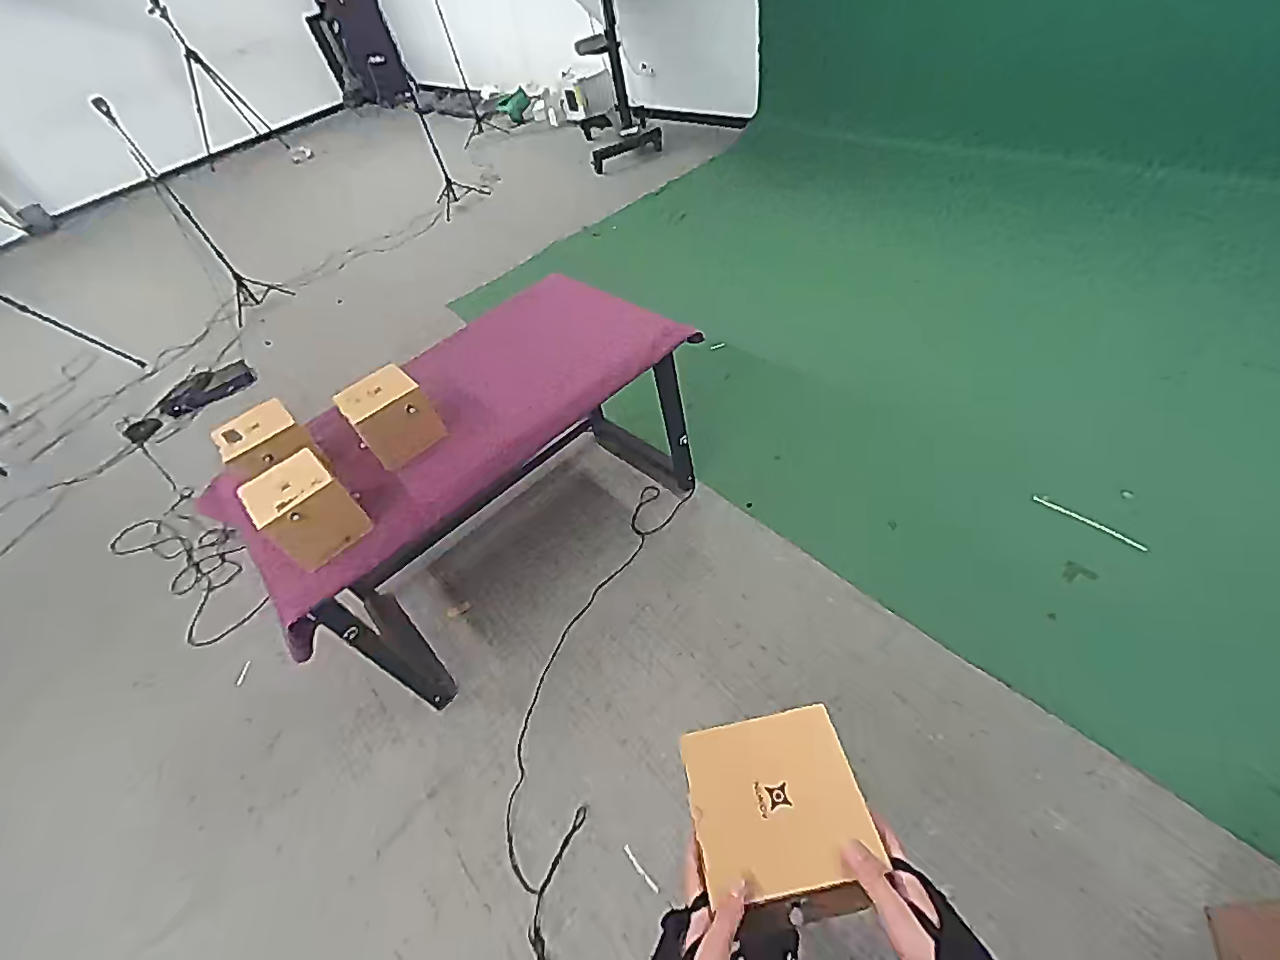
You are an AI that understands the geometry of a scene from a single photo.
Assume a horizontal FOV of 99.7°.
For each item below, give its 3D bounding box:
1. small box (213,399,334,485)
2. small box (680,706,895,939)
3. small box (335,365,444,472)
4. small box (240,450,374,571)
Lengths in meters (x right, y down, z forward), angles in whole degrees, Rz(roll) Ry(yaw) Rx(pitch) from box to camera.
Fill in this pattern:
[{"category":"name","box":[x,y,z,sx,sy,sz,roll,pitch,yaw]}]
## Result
[{"category":"small box","box":[-0.922,-0.069,1.369,0.179,0.176,0.168,-38,52,-21]},{"category":"small box","box":[0.153,0.385,0.608,0.179,0.176,0.168,-14,41,1]},{"category":"small box","box":[-0.626,-0.155,1.373,0.179,0.176,0.168,-38,51,-20]},{"category":"small box","box":[-0.732,0.069,1.198,0.168,0.176,0.179,-40,50,-21]}]
